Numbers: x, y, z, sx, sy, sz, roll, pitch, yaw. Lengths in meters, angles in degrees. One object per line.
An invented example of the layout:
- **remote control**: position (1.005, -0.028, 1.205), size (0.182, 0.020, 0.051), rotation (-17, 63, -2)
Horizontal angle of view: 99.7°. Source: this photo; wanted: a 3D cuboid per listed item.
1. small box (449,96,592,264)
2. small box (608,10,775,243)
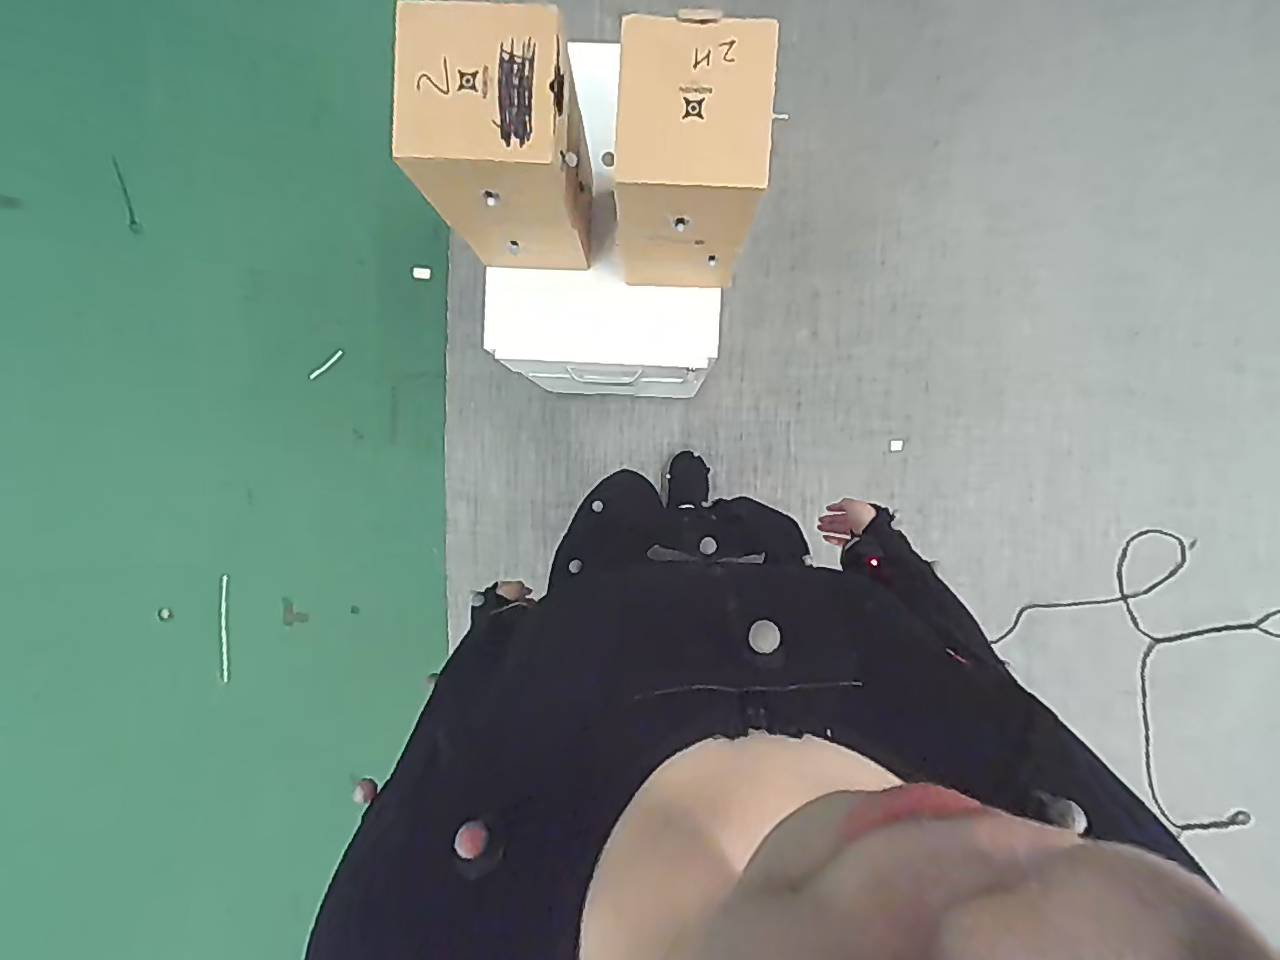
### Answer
- **small box**: position (-0.171, -0.438, 0.814), size (0.179, 0.176, 0.168), rotation (2, 93, 0)
- **small box**: position (0.056, -0.401, 0.645), size (0.168, 0.176, 0.179), rotation (4, 92, 1)
